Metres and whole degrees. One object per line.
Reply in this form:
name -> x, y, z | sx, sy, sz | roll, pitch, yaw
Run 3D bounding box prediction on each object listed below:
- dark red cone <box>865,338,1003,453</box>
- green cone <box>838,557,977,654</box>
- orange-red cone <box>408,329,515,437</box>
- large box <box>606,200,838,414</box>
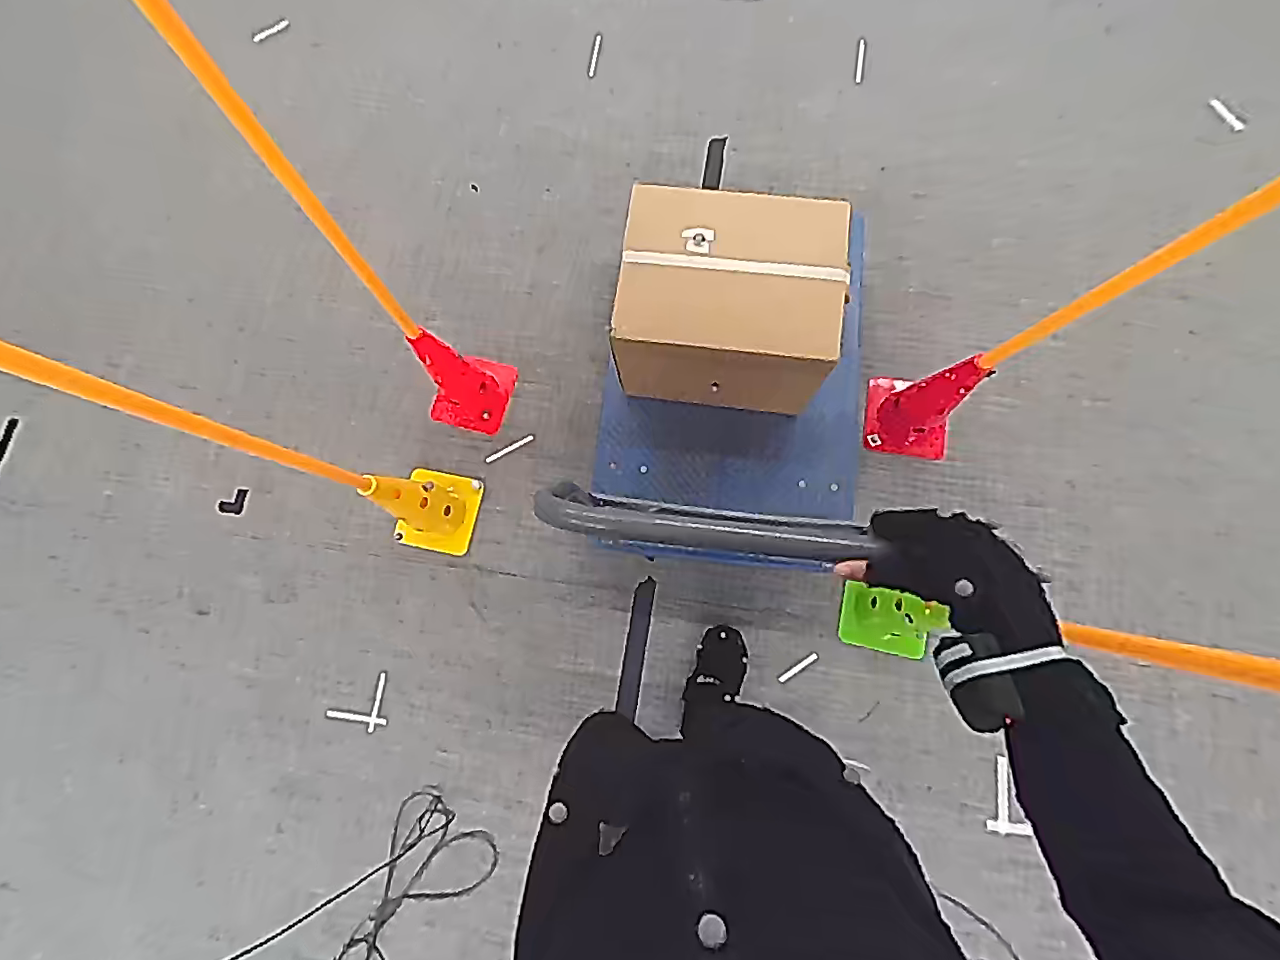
dark red cone -> 0.665, -0.207, 1.200 | 0.201, 0.394, 0.202 | 8, 79, 3
green cone -> 0.575, 0.264, 1.125 | 0.202, 0.368, 0.200 | 12, 79, 5
orange-red cone -> -0.463, -0.265, 1.303 | 0.198, 0.360, 0.199 | 15, 78, 6
large box -> 0.164, -0.340, 1.132 | 0.408, 0.320, 0.320 | 7, 80, 6
